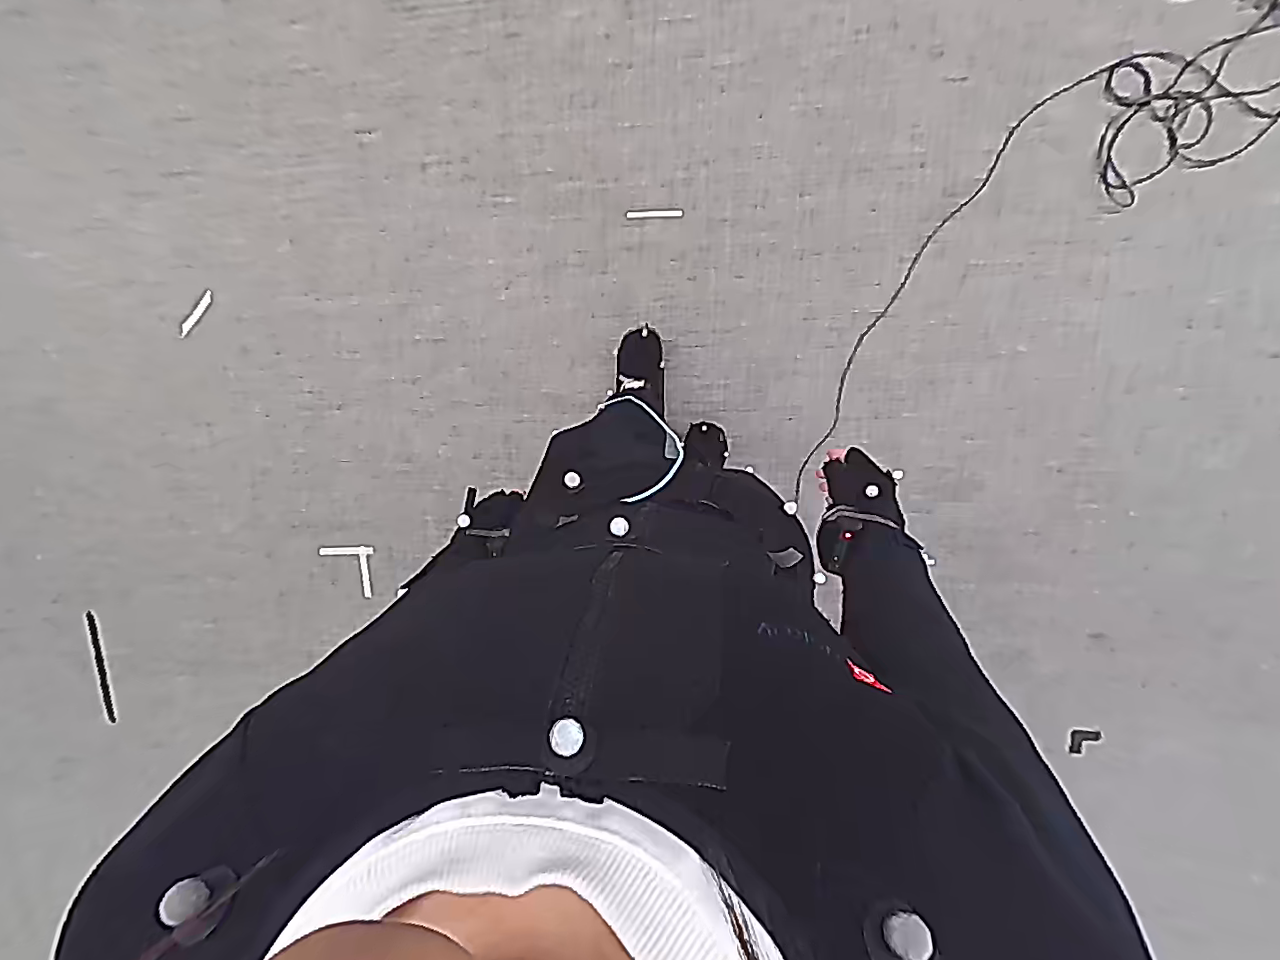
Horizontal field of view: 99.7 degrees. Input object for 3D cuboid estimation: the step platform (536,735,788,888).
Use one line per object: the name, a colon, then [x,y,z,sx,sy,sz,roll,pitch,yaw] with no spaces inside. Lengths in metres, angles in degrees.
step platform: [0.057,0.910,1.501,0.684,0.204,0.286,0,99,9]
